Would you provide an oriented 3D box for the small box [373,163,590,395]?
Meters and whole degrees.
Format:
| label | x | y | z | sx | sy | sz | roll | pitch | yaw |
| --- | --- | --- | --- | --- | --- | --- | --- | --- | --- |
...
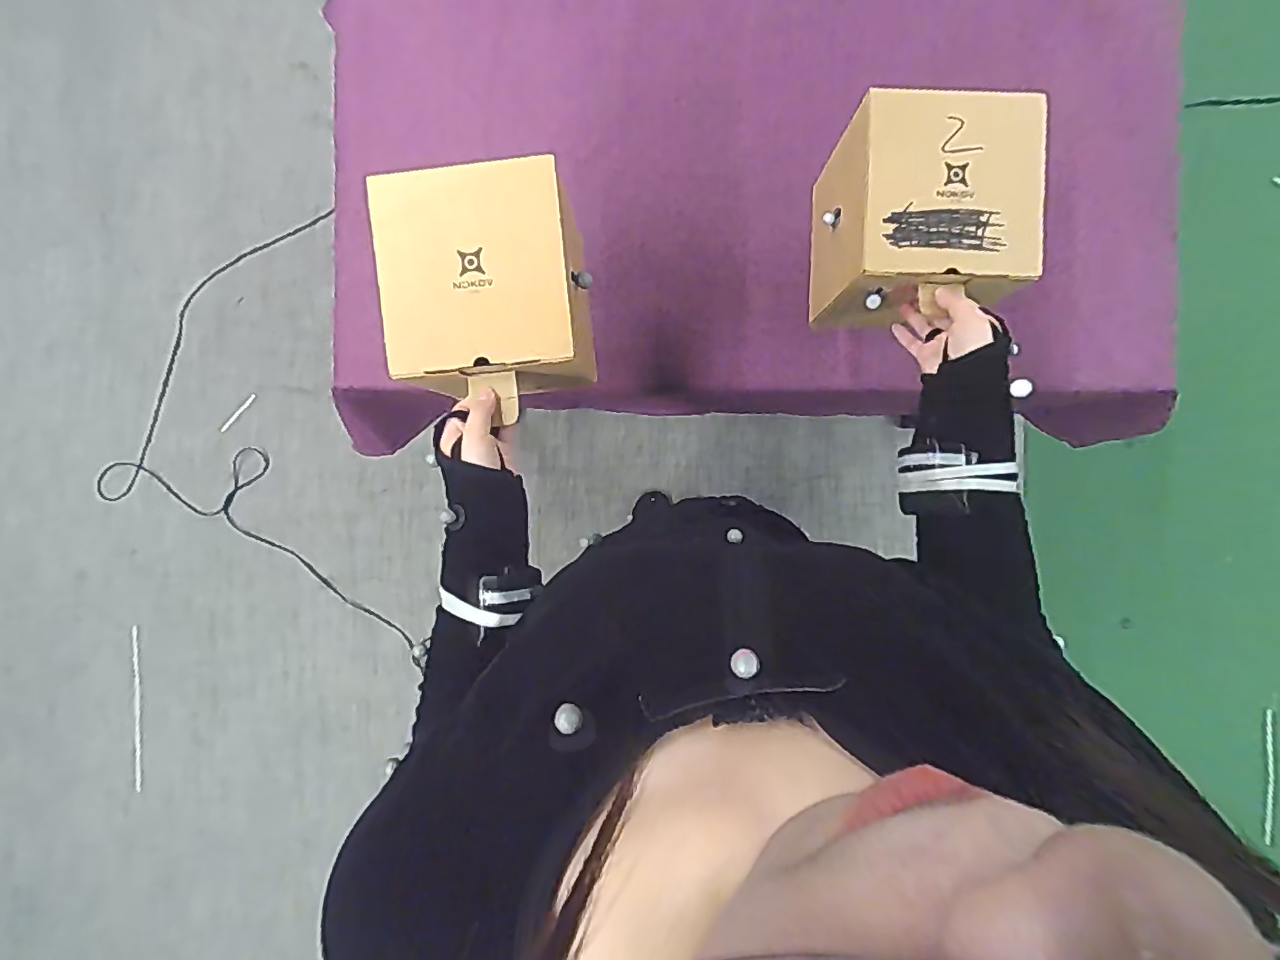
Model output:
| label | x | y | z | sx | sy | sz | roll | pitch | yaw |
| --- | --- | --- | --- | --- | --- | --- | --- | --- | --- |
| small box | -0.148 | -0.191 | 0.561 | 0.168 | 0.176 | 0.179 | -6 | 93 | 2 |
